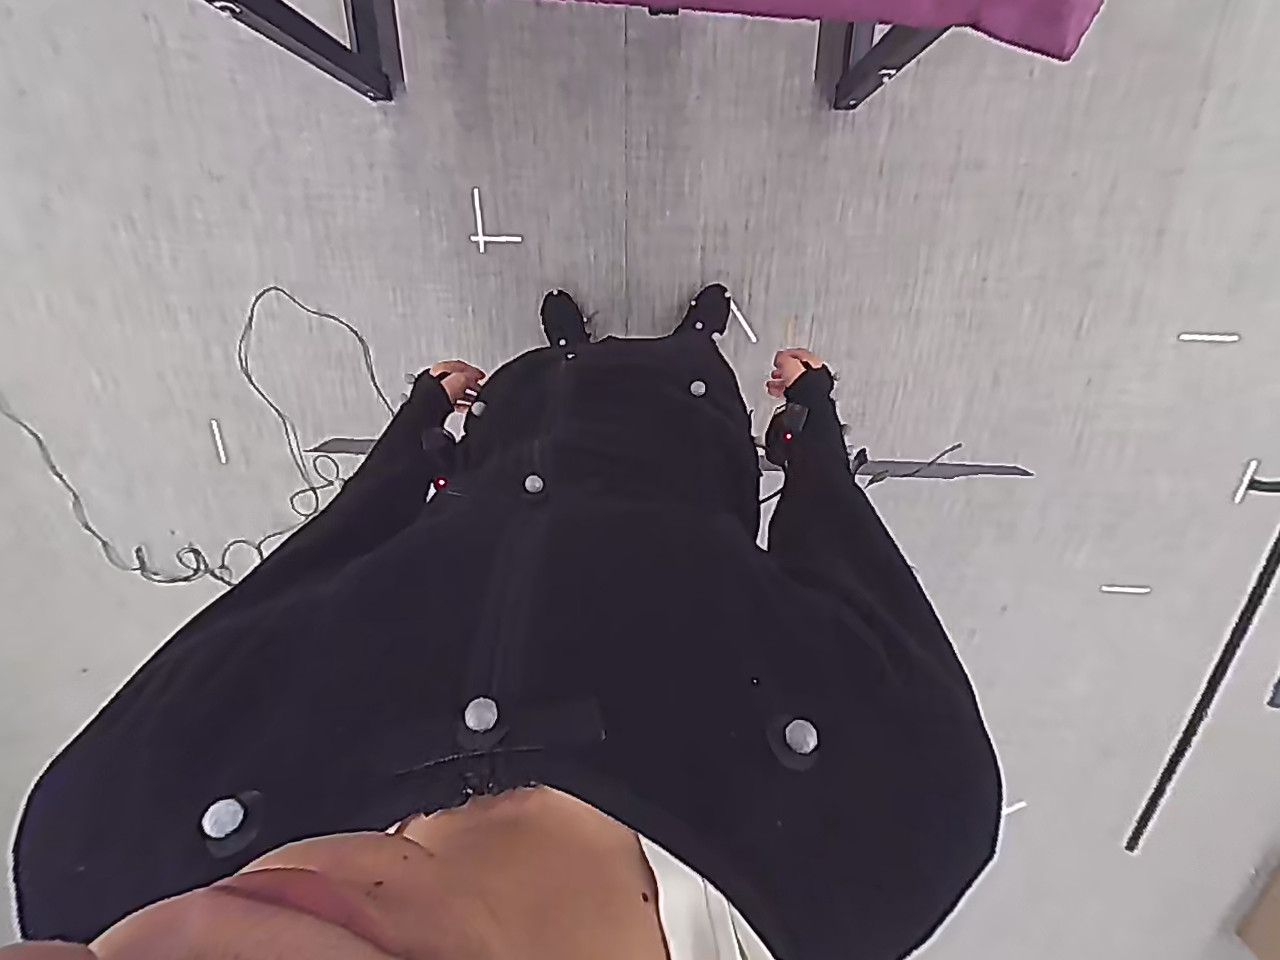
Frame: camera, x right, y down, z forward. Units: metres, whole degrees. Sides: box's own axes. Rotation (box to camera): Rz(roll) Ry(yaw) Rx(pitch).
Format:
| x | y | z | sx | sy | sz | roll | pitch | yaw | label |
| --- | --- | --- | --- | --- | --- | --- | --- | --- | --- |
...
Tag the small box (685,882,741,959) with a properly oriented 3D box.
| x | y | z | sx | sy | sz | roll | pitch | yaw | label |
| --- | --- | --- | --- | --- | --- | --- | --- | --- | --- |
| 0.243 | 1.503 | 1.825 | 0.168 | 0.176 | 0.179 | 0 | 111 | 0 | small box |
